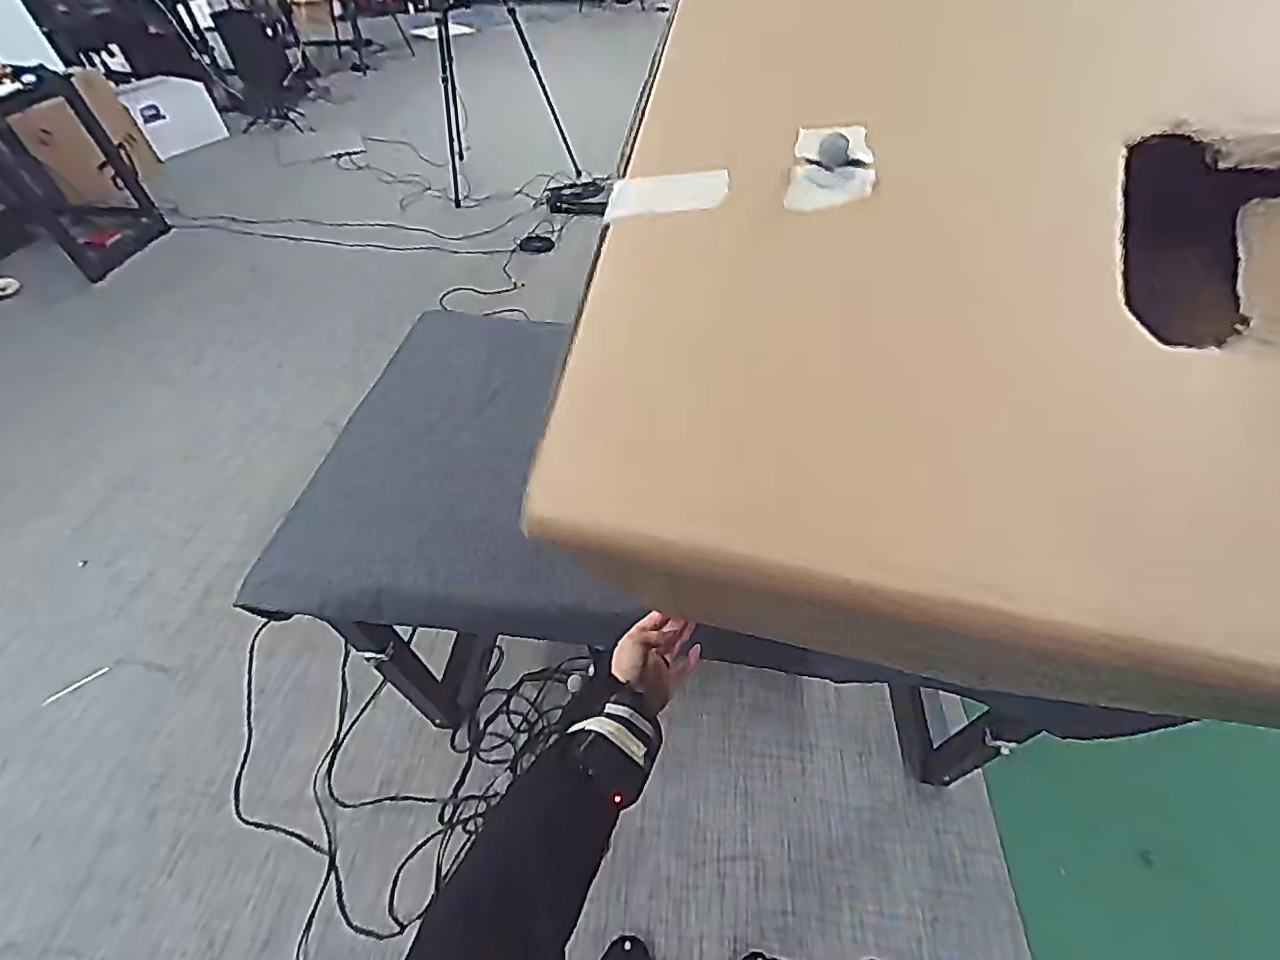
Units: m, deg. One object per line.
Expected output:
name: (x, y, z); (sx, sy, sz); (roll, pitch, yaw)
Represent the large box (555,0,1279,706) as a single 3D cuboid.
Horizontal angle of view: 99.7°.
large box: (0.164, -0.043, 0.409); (0.320, 0.408, 0.320); (10, 75, 12)
